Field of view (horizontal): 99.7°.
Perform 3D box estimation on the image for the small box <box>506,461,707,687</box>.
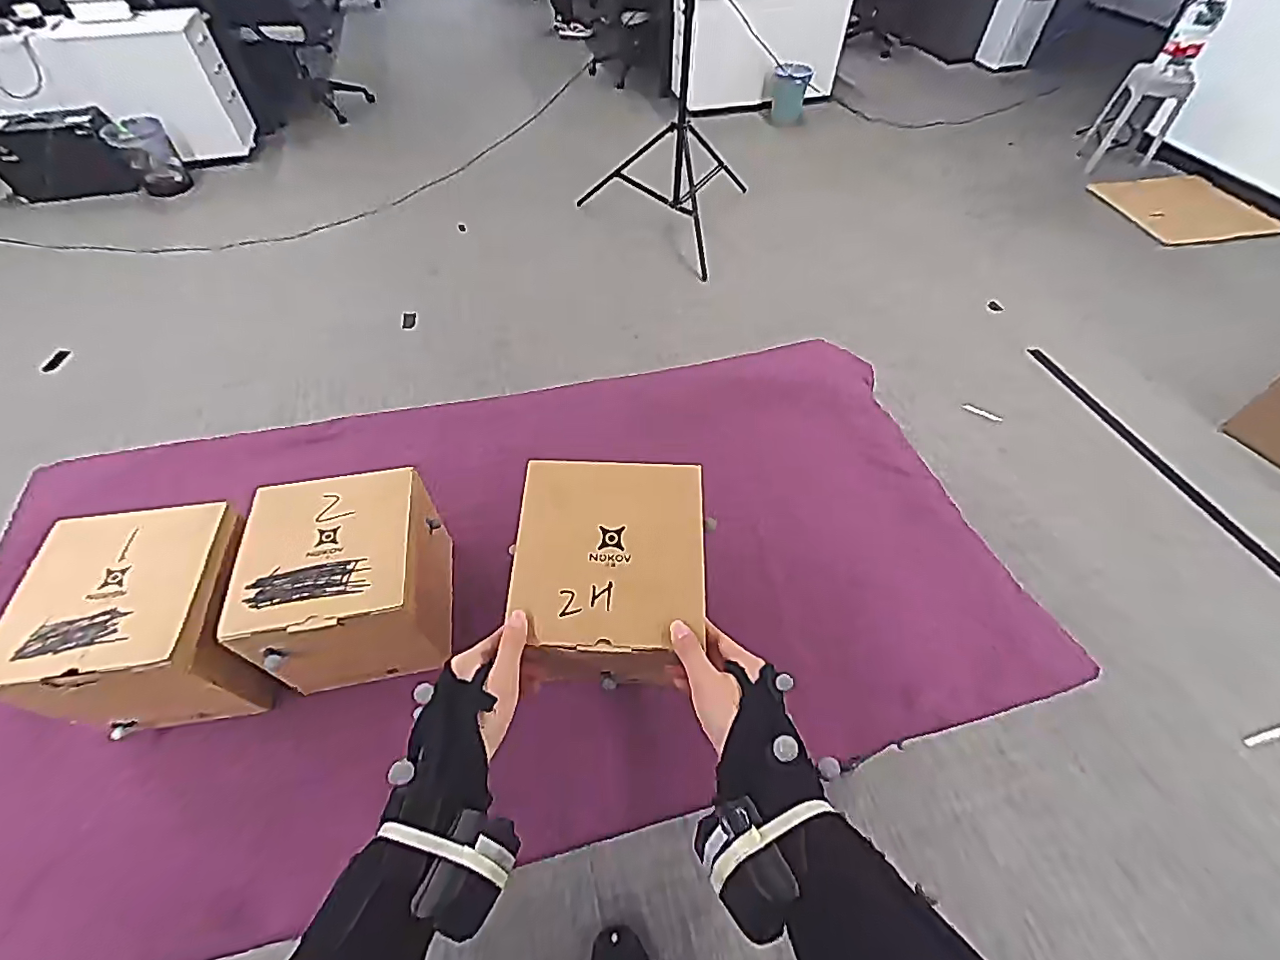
[{"bbox_3d":[-0.025,0.099,0.542,0.168,0.176,0.179,1,60,1],"label":"small box"}]
